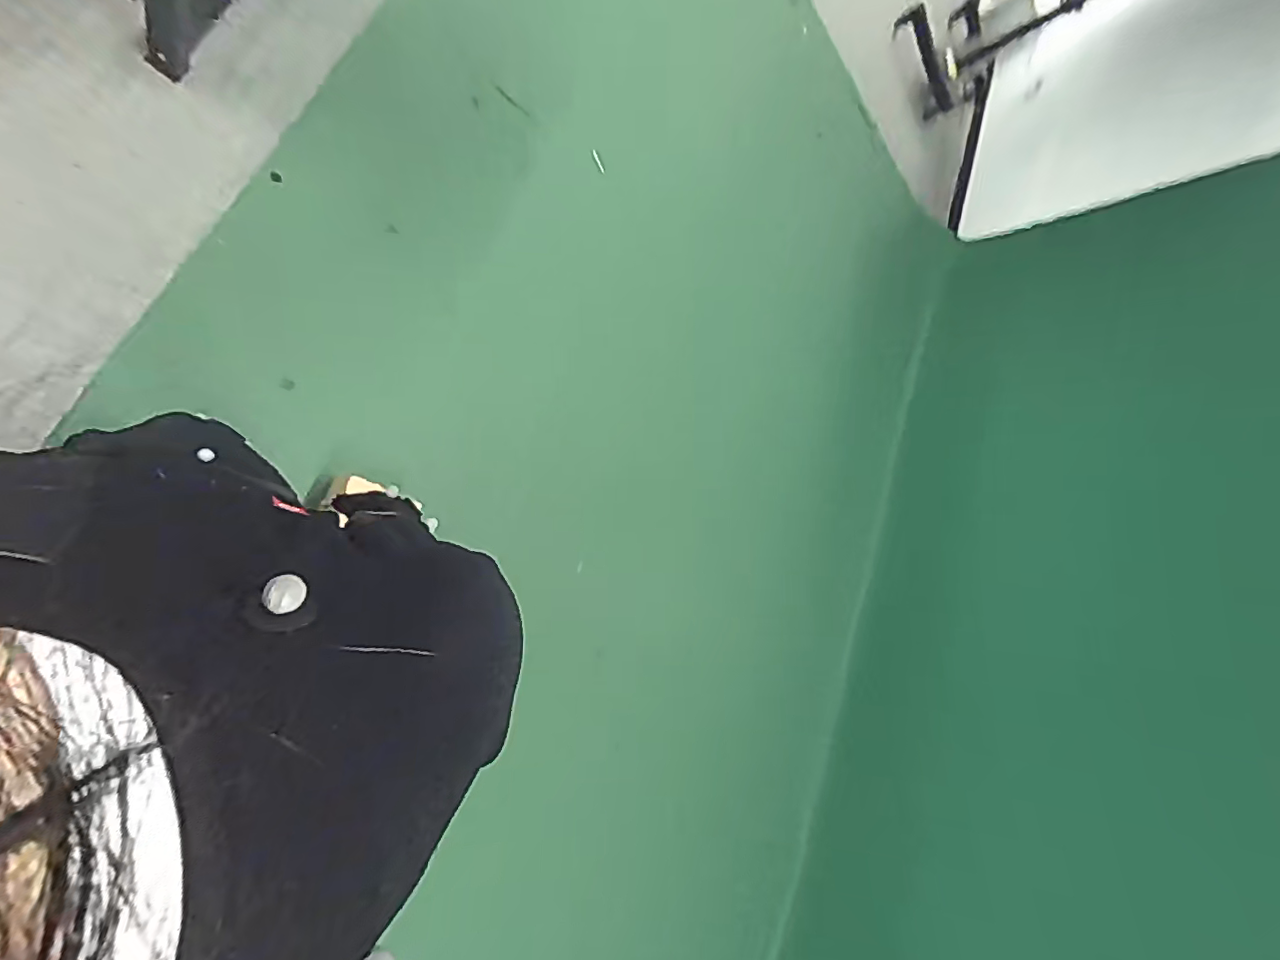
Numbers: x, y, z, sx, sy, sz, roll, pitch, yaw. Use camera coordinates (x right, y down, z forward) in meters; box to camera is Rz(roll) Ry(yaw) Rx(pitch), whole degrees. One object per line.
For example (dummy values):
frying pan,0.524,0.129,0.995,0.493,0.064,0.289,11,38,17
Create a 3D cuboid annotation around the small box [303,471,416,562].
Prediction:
small box,-0.688,0.089,1.317,0.179,0.176,0.168,32,71,-35
